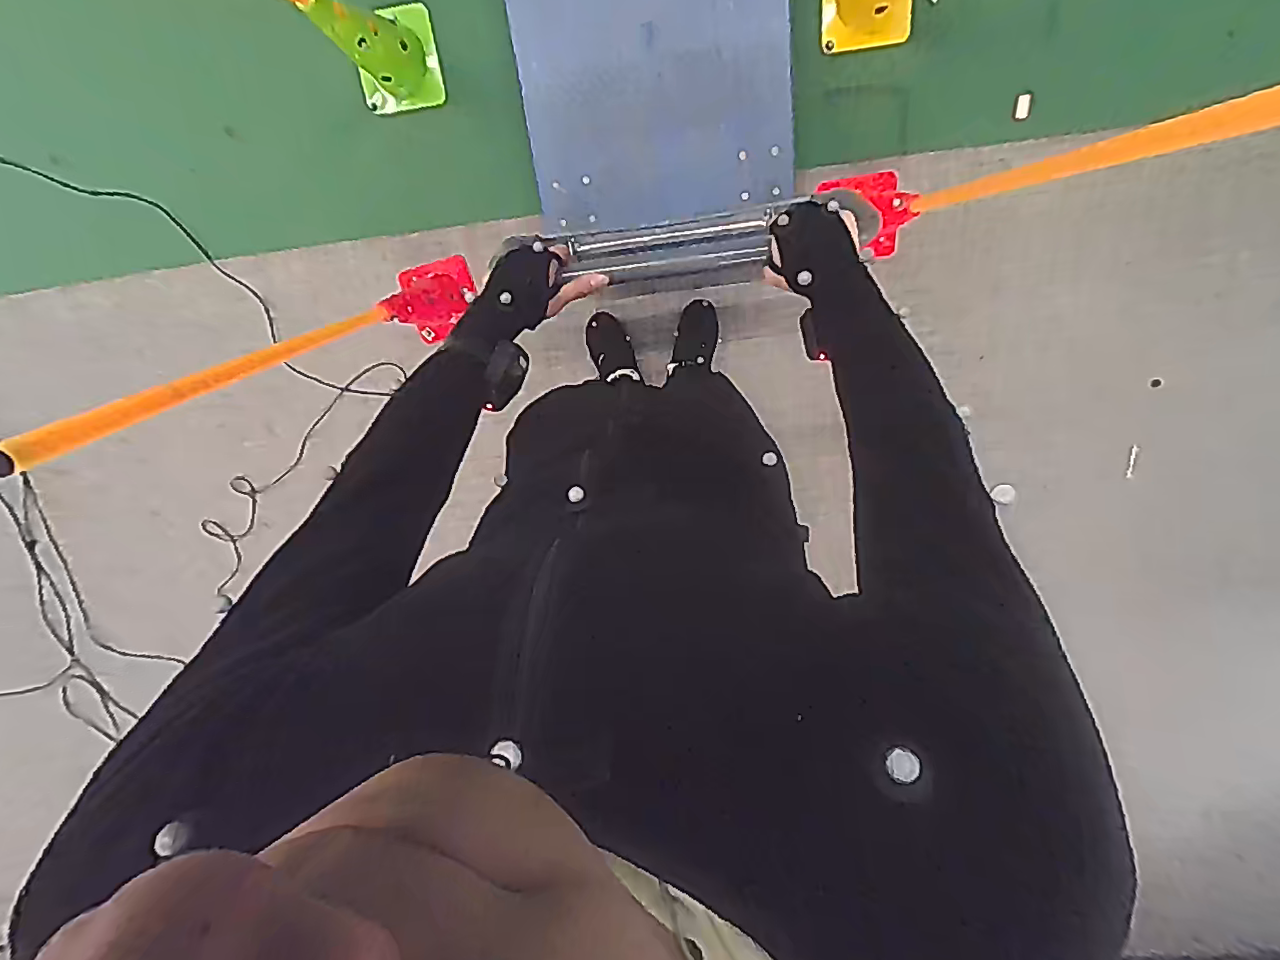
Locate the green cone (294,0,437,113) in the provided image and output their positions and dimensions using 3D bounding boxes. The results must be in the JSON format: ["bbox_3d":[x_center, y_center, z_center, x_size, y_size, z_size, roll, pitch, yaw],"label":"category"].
[{"bbox_3d":[-0.597,-0.928,1.109,0.200,0.368,0.202,-6,110,5],"label":"green cone"}]

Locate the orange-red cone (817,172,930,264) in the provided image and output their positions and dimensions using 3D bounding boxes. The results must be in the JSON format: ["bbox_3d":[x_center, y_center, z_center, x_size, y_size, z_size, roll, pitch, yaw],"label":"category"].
[{"bbox_3d":[0.542,-0.596,1.200,0.198,0.360,0.199,-6,110,4],"label":"orange-red cone"}]
